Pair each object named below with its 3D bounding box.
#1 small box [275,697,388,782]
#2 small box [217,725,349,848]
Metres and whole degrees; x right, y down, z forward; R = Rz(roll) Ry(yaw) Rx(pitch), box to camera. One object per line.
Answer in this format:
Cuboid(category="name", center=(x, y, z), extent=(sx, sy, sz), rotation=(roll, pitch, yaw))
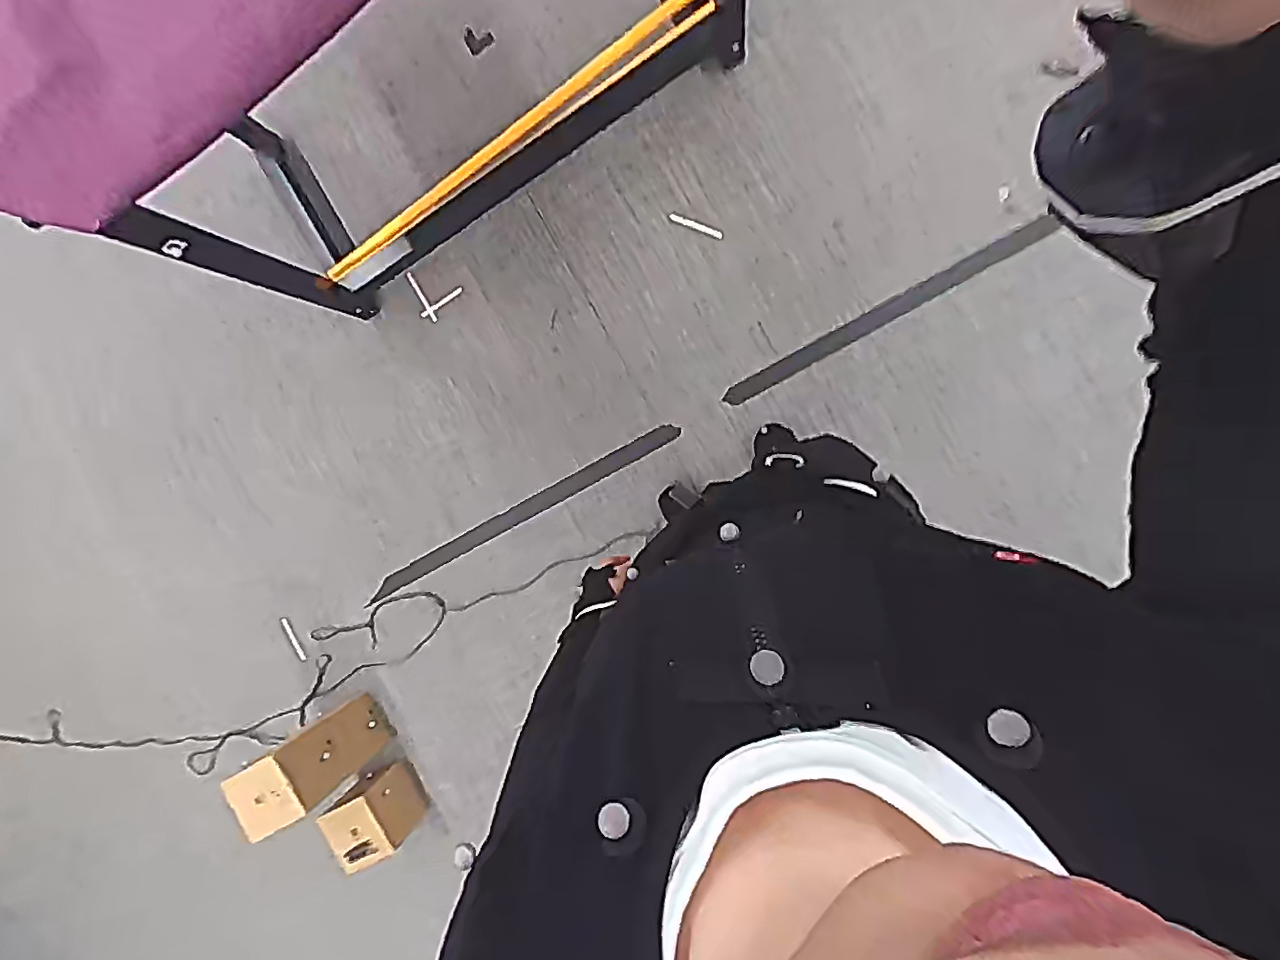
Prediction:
Cuboid(category="small box", center=(-0.845, 0.737, 1.496), extent=(0.179, 0.176, 0.168), rotation=(-30, 89, 9))
Cuboid(category="small box", center=(-0.871, 0.747, 1.333), extent=(0.179, 0.176, 0.168), rotation=(-31, 89, 9))
